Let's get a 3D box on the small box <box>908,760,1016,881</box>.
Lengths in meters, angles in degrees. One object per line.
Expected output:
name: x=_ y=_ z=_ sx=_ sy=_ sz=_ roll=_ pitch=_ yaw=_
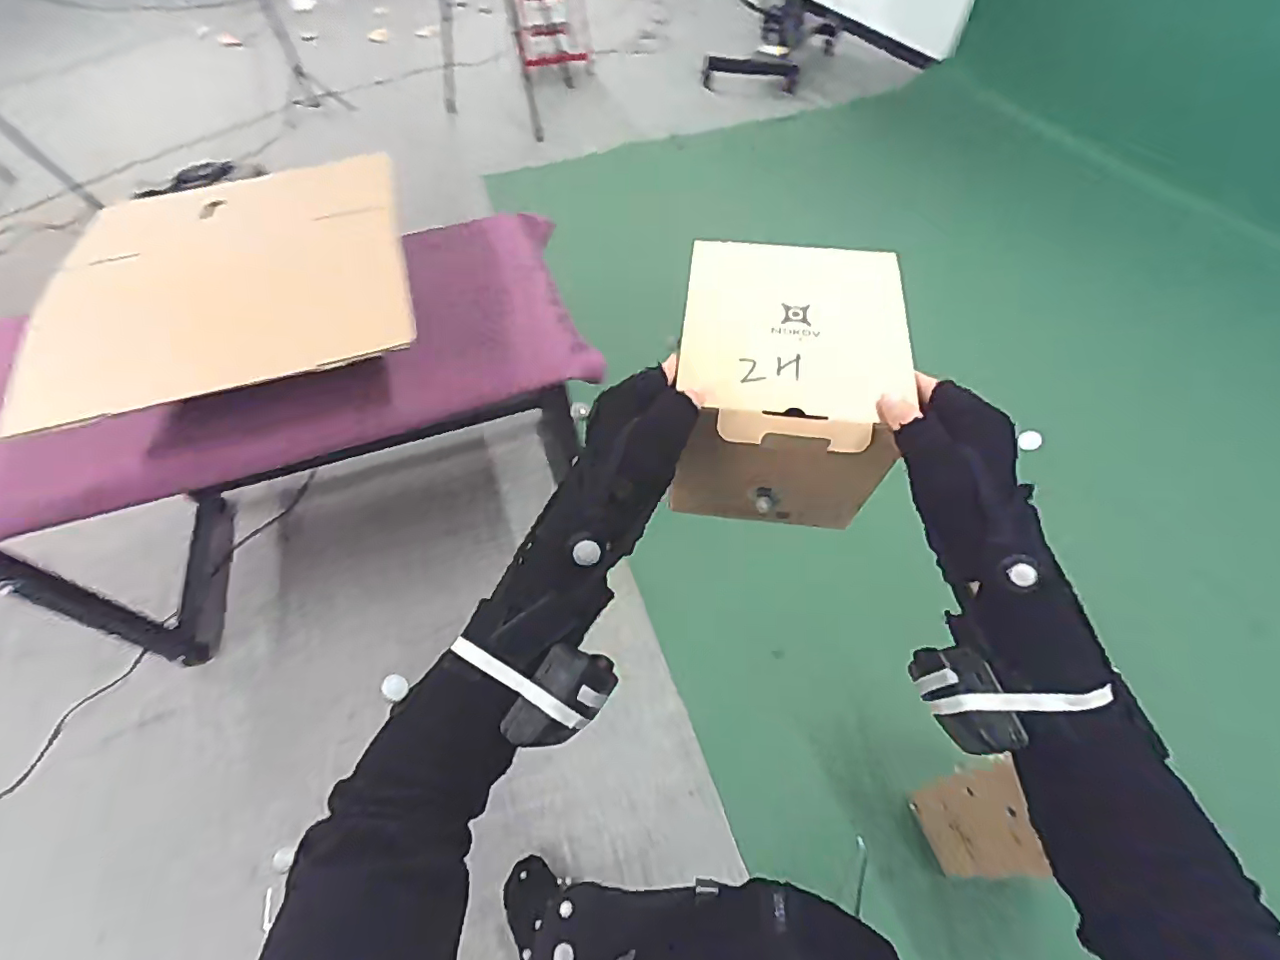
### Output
small box: x=0.694 y=0.715 z=1.134 sx=0.179 sy=0.176 sz=0.168 roll=-17 pitch=55 yaw=-8

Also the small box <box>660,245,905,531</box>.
small box: x=0.108 y=-0.075 z=0.476 sx=0.168 sy=0.176 sz=0.179 roll=6 pitch=61 yaw=5
